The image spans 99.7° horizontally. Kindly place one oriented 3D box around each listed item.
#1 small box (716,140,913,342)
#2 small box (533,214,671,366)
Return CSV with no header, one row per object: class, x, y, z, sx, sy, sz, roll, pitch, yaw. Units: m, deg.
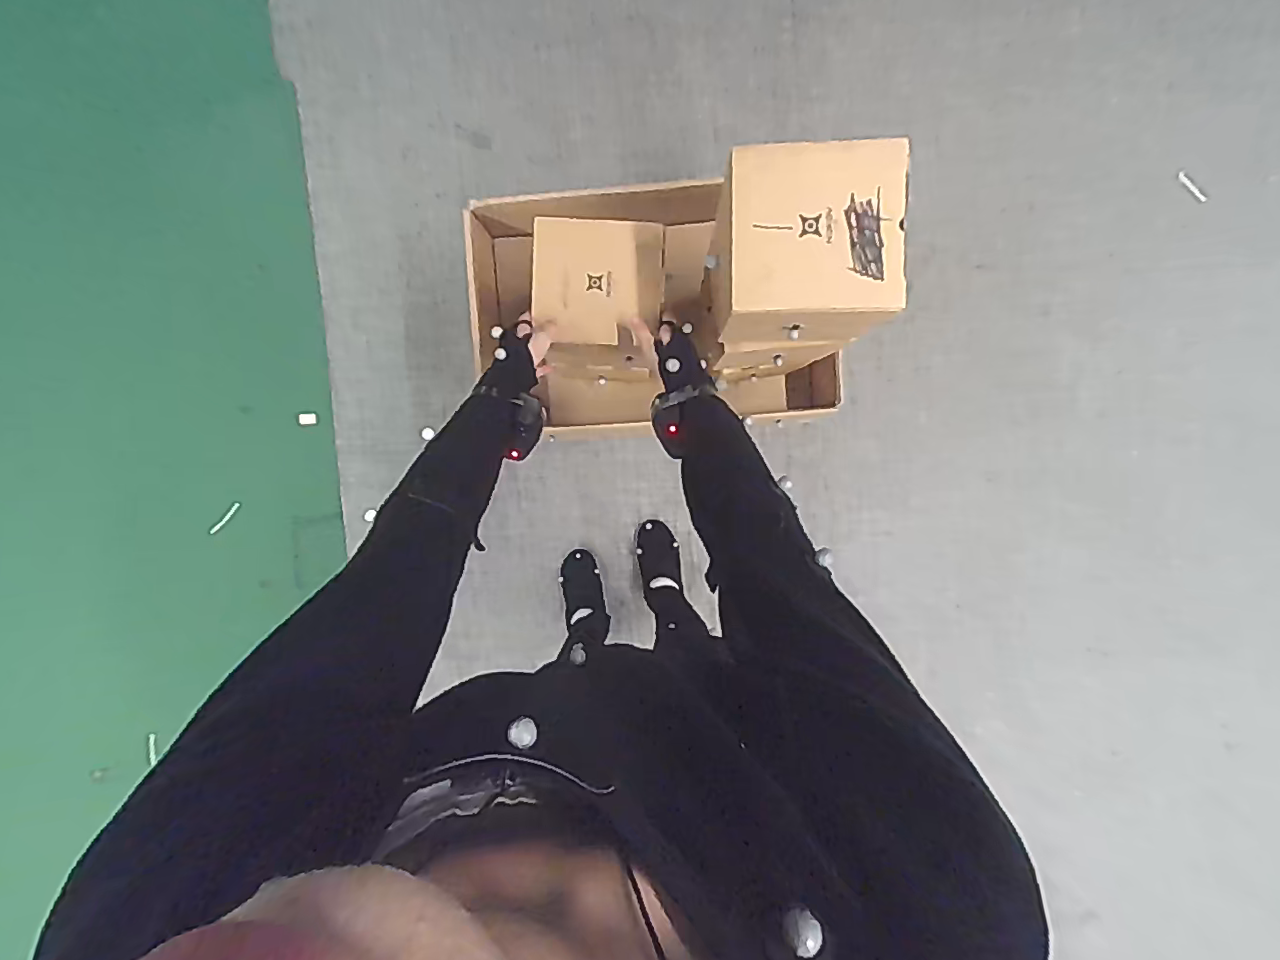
small box,0.183,-0.256,0.615,0.179,0.176,0.168,0,94,4
small box,-0.052,-0.264,0.790,0.179,0.176,0.168,3,92,-1
